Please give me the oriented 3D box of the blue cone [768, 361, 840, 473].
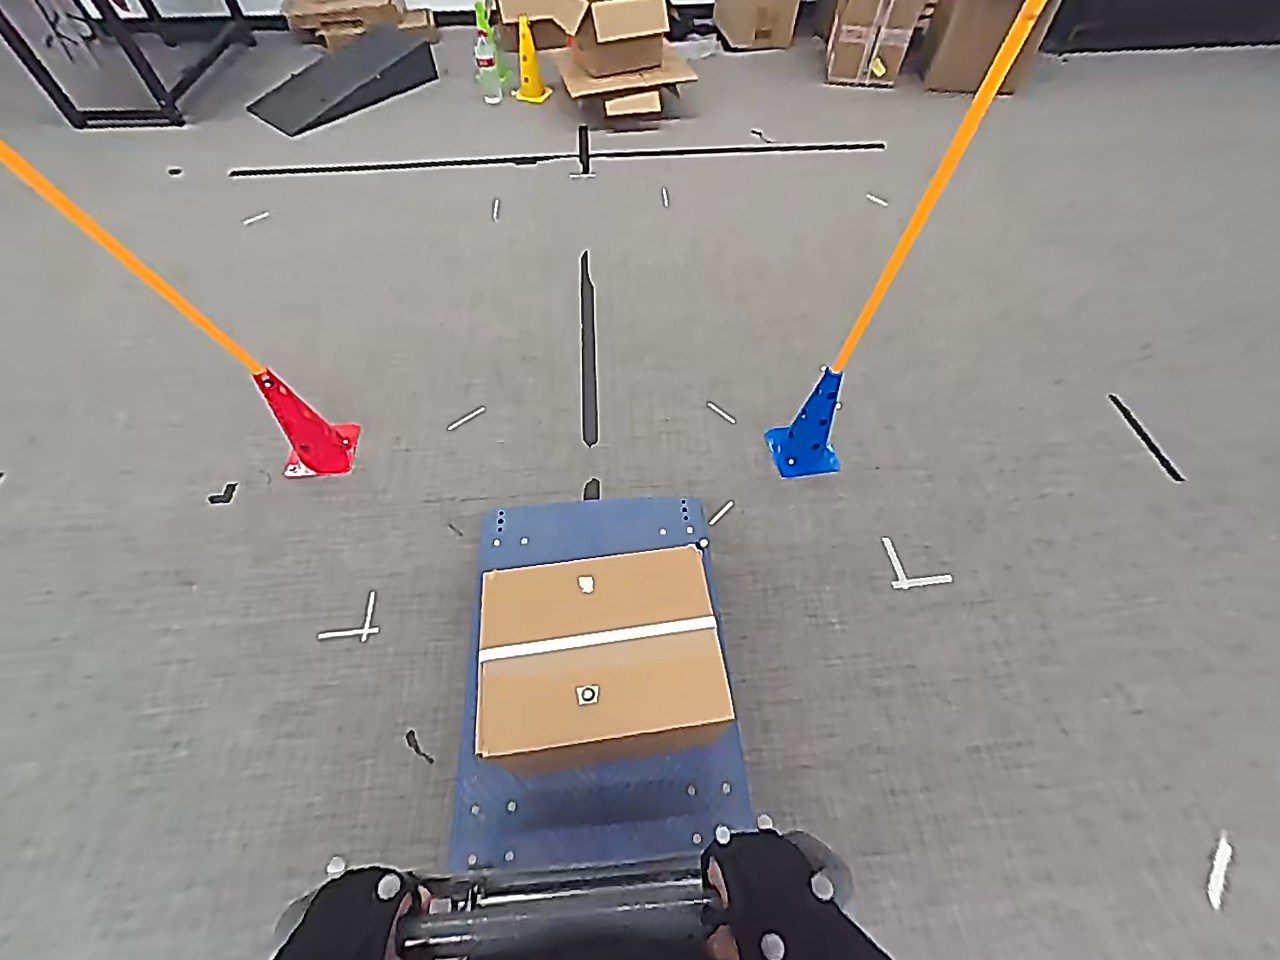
[{"bbox_3d":[0.529,-0.198,1.618,0.193,0.380,0.192,-7,56,-5],"label":"blue cone"}]
